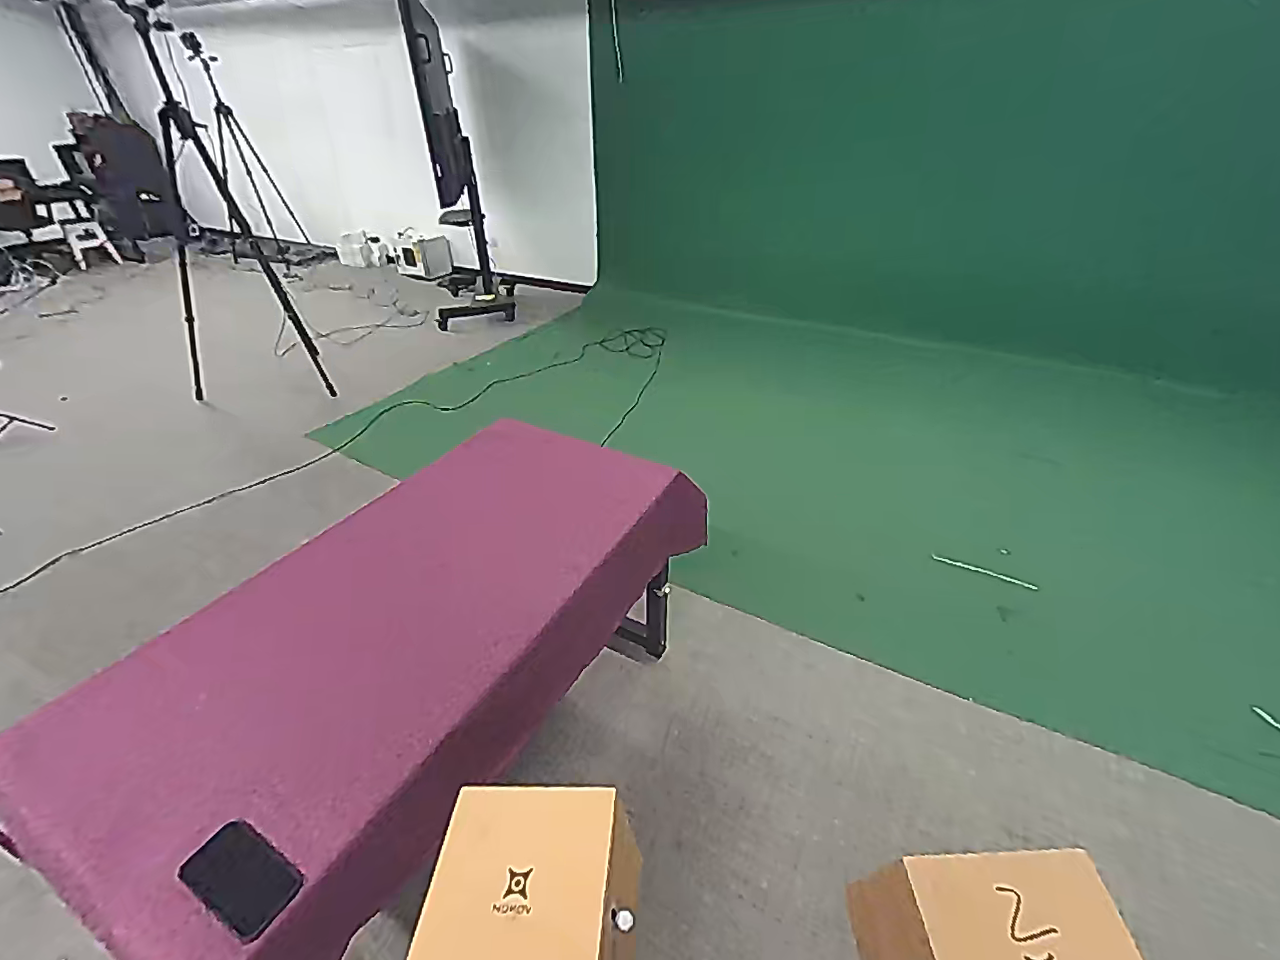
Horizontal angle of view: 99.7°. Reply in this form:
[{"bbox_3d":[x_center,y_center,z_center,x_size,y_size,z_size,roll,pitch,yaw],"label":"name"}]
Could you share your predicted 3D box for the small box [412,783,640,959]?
[{"bbox_3d":[-0.095,0.430,0.534,0.168,0.176,0.179,-4,37,9],"label":"small box"}]
